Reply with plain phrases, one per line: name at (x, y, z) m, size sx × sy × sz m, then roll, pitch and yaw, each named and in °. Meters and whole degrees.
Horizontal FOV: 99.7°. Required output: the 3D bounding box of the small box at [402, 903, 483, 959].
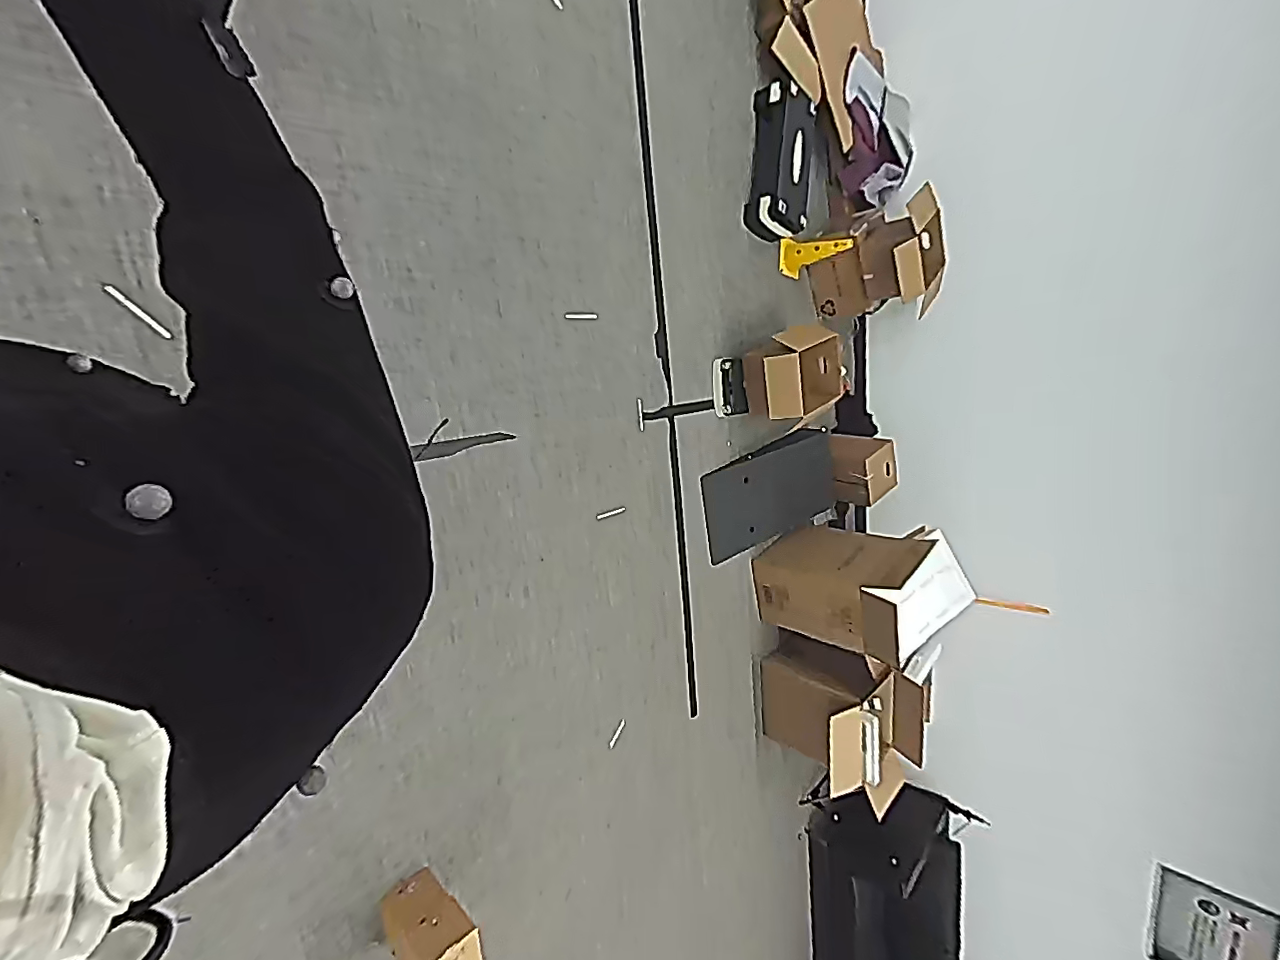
small box at (-0.586, 1.430, 1.610) m, size 0.168 × 0.176 × 0.179 m, roll -15°, pitch 105°, yaw -45°

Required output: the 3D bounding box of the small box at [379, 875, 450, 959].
small box at (-0.708, 1.422, 1.720) m, size 0.168 × 0.176 × 0.179 m, roll -14°, pitch 105°, yaw -45°
